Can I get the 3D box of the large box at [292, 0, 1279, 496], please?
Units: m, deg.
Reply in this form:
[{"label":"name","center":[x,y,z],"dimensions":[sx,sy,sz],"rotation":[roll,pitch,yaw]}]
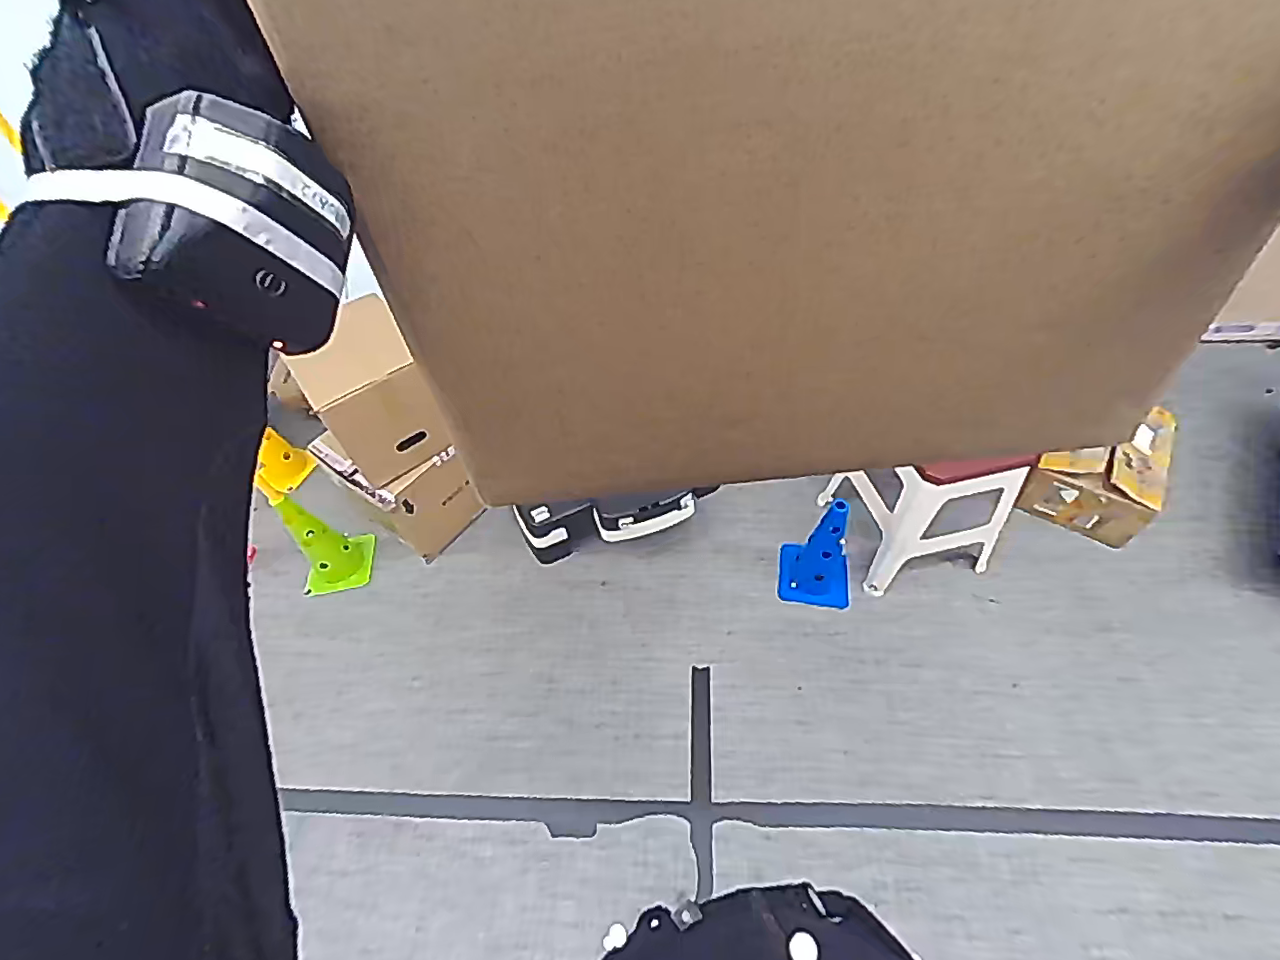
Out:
[{"label":"large box","center":[0.074,-0.217,0.355],"dimensions":[0.408,0.320,0.320],"rotation":[-6,44,2]}]
